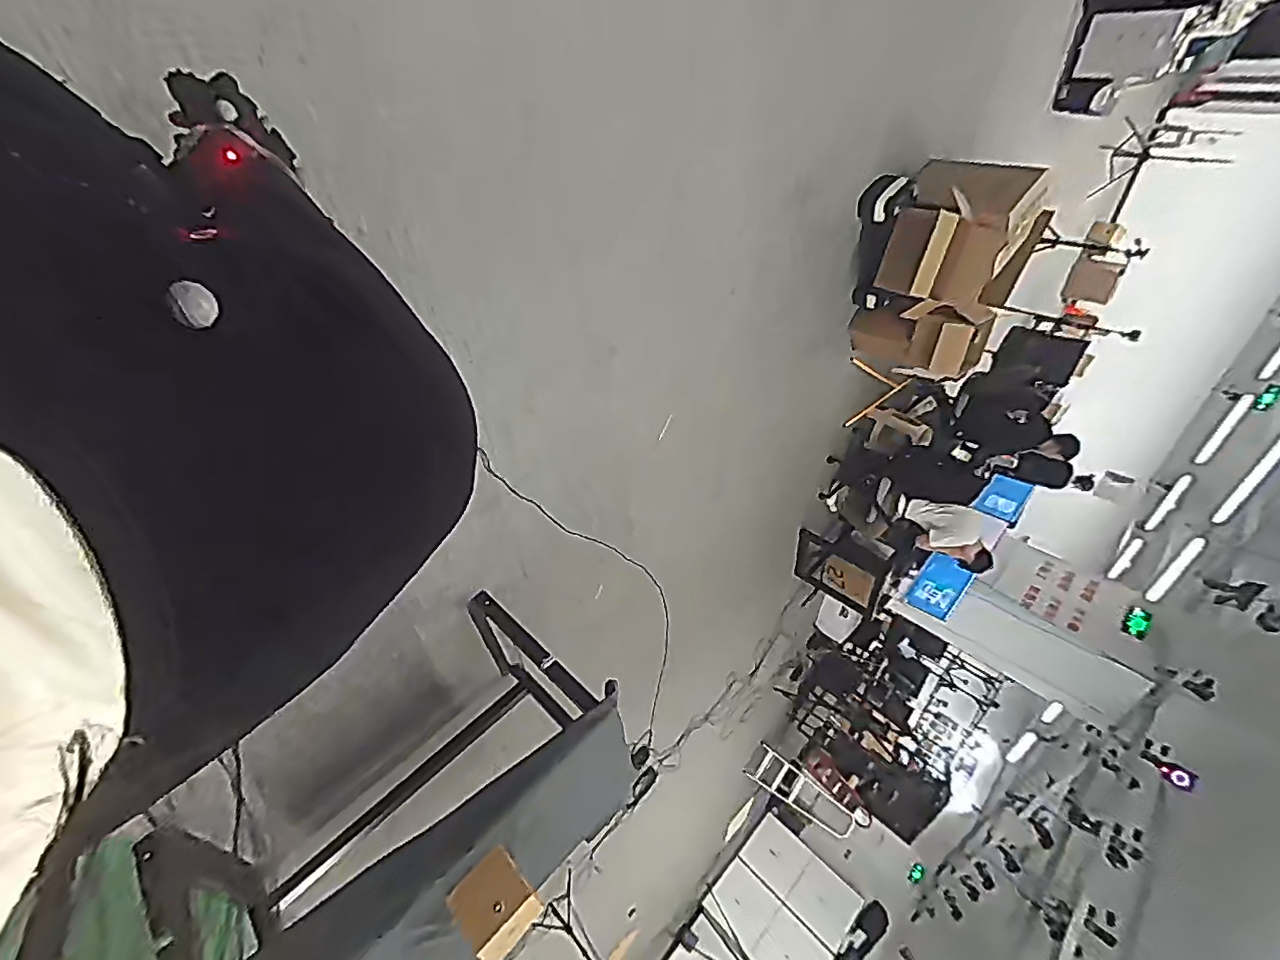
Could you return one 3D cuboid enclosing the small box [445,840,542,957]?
[{"bbox_3d":[-0.399,1.134,1.475,0.179,0.176,0.168,-35,138,-29],"label":"small box"}]
